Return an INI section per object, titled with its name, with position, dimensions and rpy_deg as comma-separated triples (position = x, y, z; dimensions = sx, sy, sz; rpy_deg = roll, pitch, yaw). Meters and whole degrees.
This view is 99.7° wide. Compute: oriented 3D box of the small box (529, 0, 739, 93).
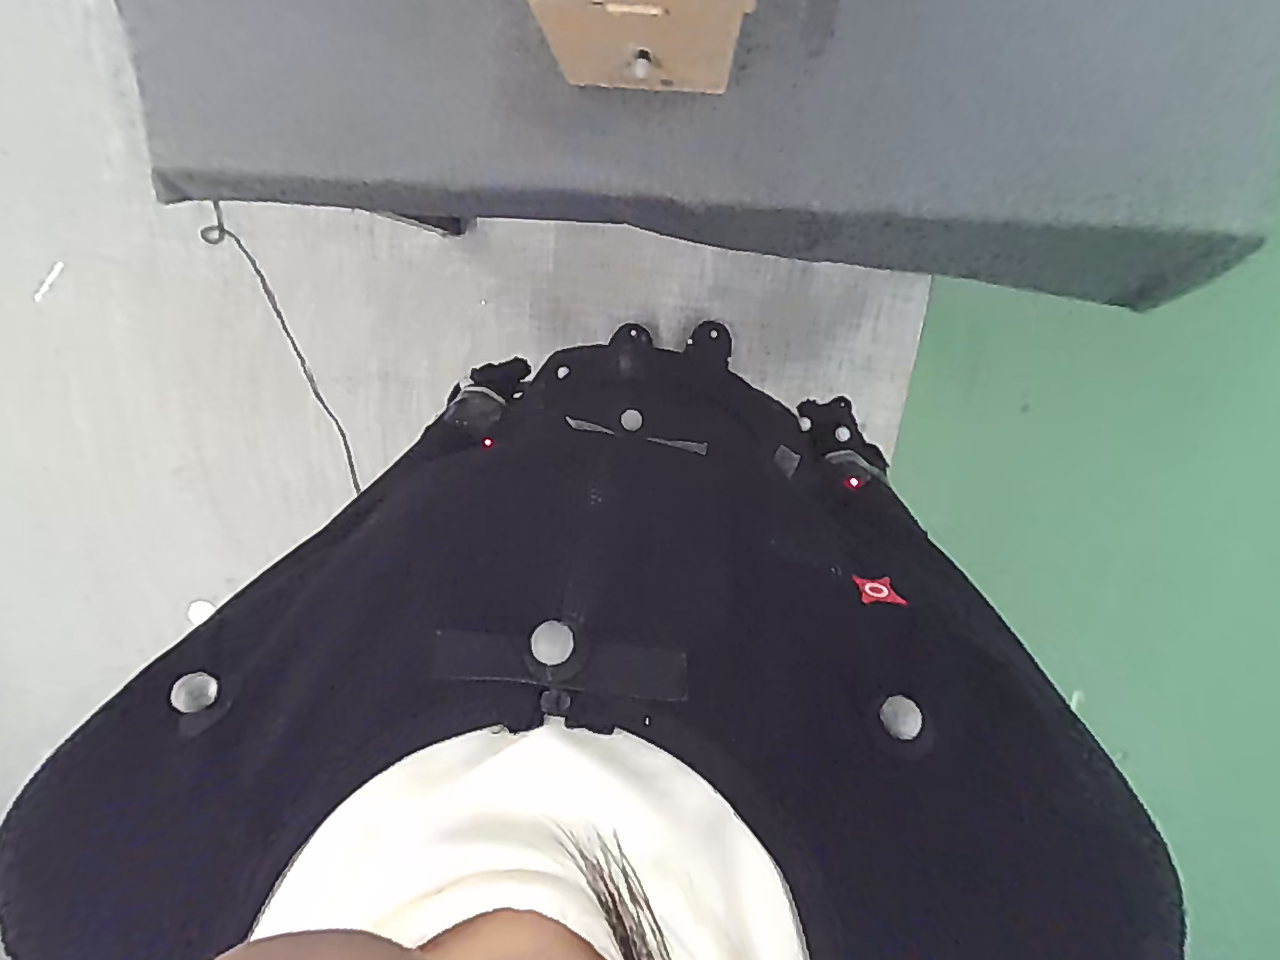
[small box]
position = 0.008, -0.462, 0.463
dimensions = 0.168, 0.176, 0.179
rpy_deg = 5, 108, 3
